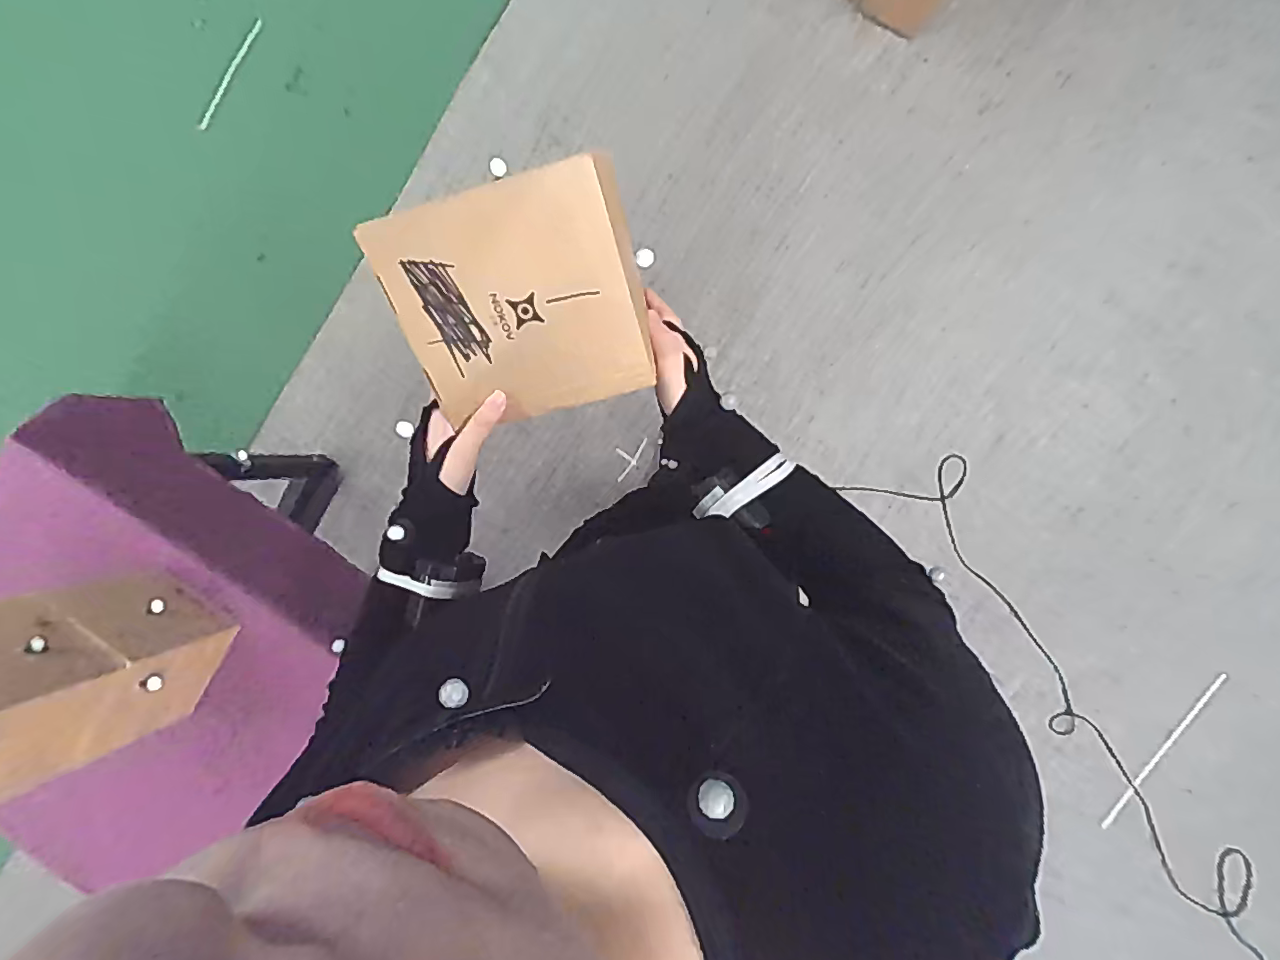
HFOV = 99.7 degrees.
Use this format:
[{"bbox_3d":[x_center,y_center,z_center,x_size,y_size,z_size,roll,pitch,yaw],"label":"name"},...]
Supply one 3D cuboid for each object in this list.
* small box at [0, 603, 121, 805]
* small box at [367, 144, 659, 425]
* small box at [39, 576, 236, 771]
[{"bbox_3d":[-0.767,0.271,0.620,0.168,0.176,0.179,33,94,4],"label":"small box"},{"bbox_3d":[-0.085,-0.171,0.465,0.179,0.176,0.168,-13,121,8],"label":"small box"},{"bbox_3d":[-0.740,0.261,0.780,0.168,0.176,0.179,33,96,5],"label":"small box"}]
